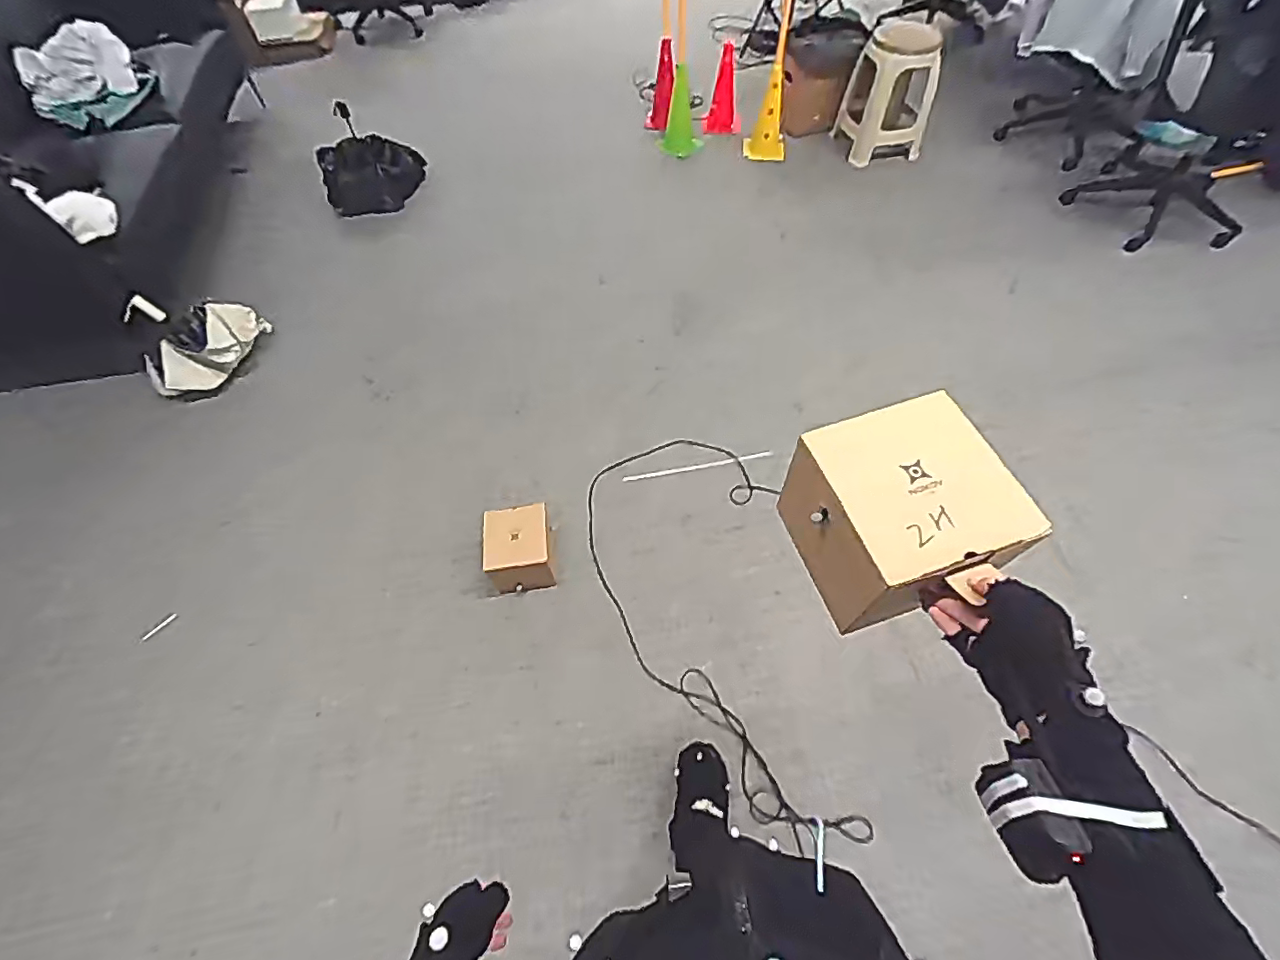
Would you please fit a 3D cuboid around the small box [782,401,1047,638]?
[{"bbox_3d":[0.272,0.049,0.591,0.168,0.176,0.179,-18,60,-5],"label":"small box"}]

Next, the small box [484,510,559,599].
[{"bbox_3d":[-0.319,0.206,1.476,0.168,0.176,0.179,-8,58,-2],"label":"small box"}]
